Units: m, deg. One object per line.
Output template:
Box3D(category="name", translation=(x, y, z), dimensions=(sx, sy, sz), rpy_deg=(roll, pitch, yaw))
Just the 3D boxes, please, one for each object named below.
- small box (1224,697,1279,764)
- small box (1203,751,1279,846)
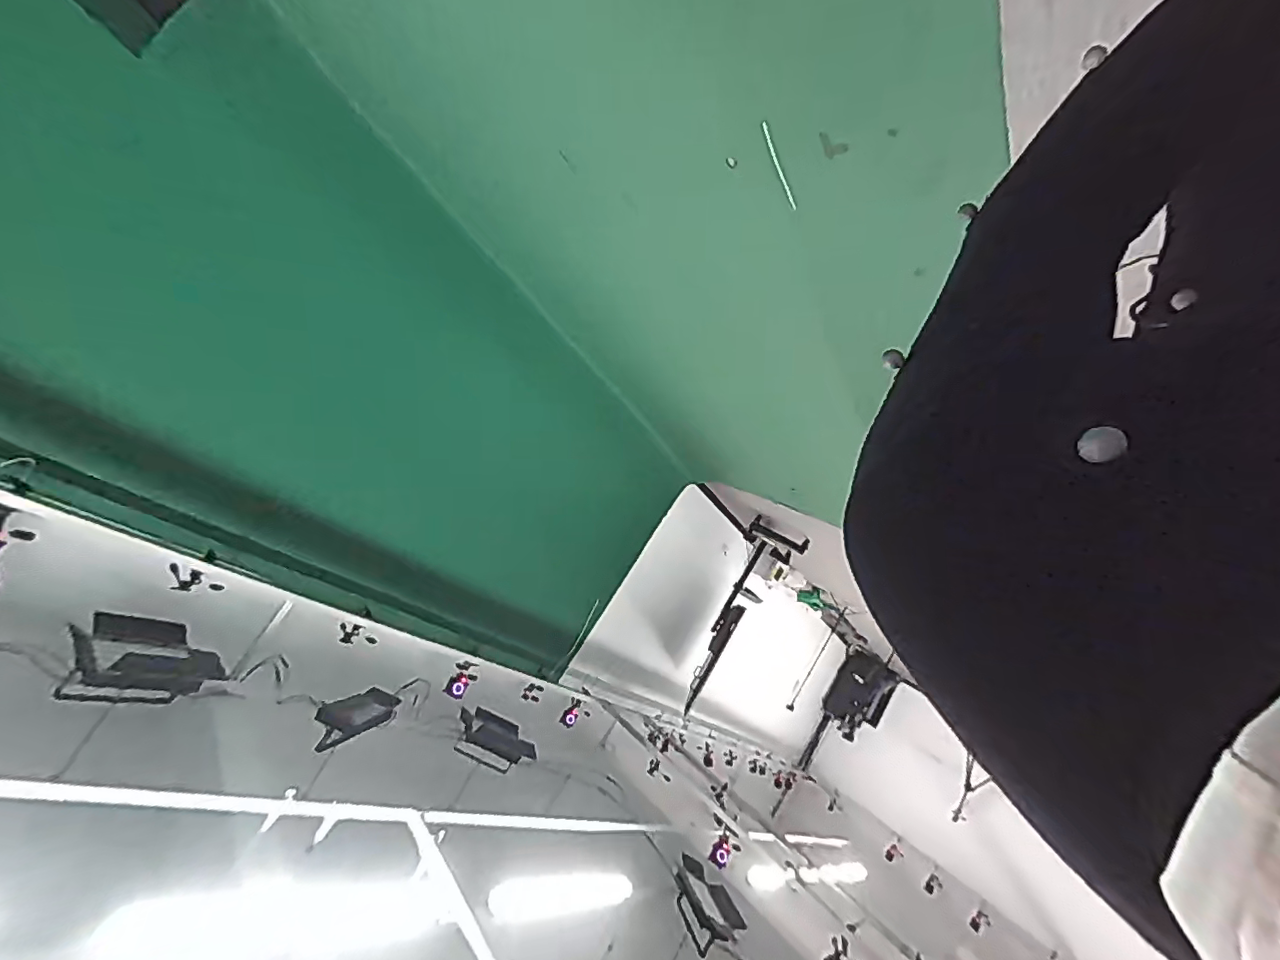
Box3D(category="small box", translation=(1.736, 0.704, 1.448), dimensions=(0.179, 0.176, 0.168), rpy_deg=(25, 168, 44))
Box3D(category="small box", translation=(1.647, 0.836, 1.421), dimensions=(0.179, 0.176, 0.168), rpy_deg=(24, 167, 44))
